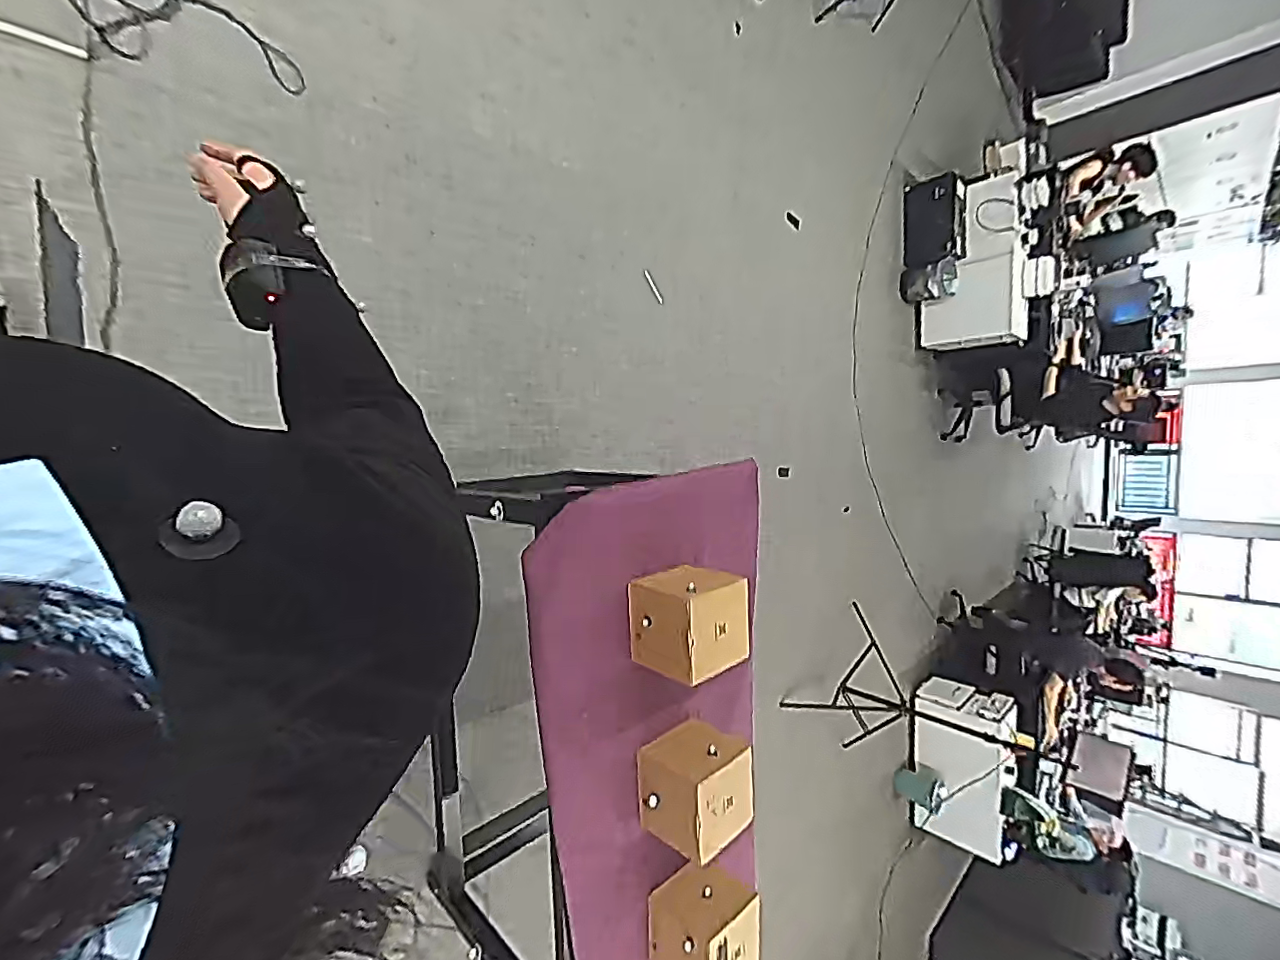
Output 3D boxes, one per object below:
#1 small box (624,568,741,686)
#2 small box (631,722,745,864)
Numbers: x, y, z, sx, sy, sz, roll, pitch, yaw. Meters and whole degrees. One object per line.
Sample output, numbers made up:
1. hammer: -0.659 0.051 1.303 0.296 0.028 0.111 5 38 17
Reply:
1. small box: 0.087 0.284 1.094 0.179 0.176 0.168 -8 99 -42
2. small box: 0.101 0.636 1.128 0.179 0.176 0.168 -7 97 -43
